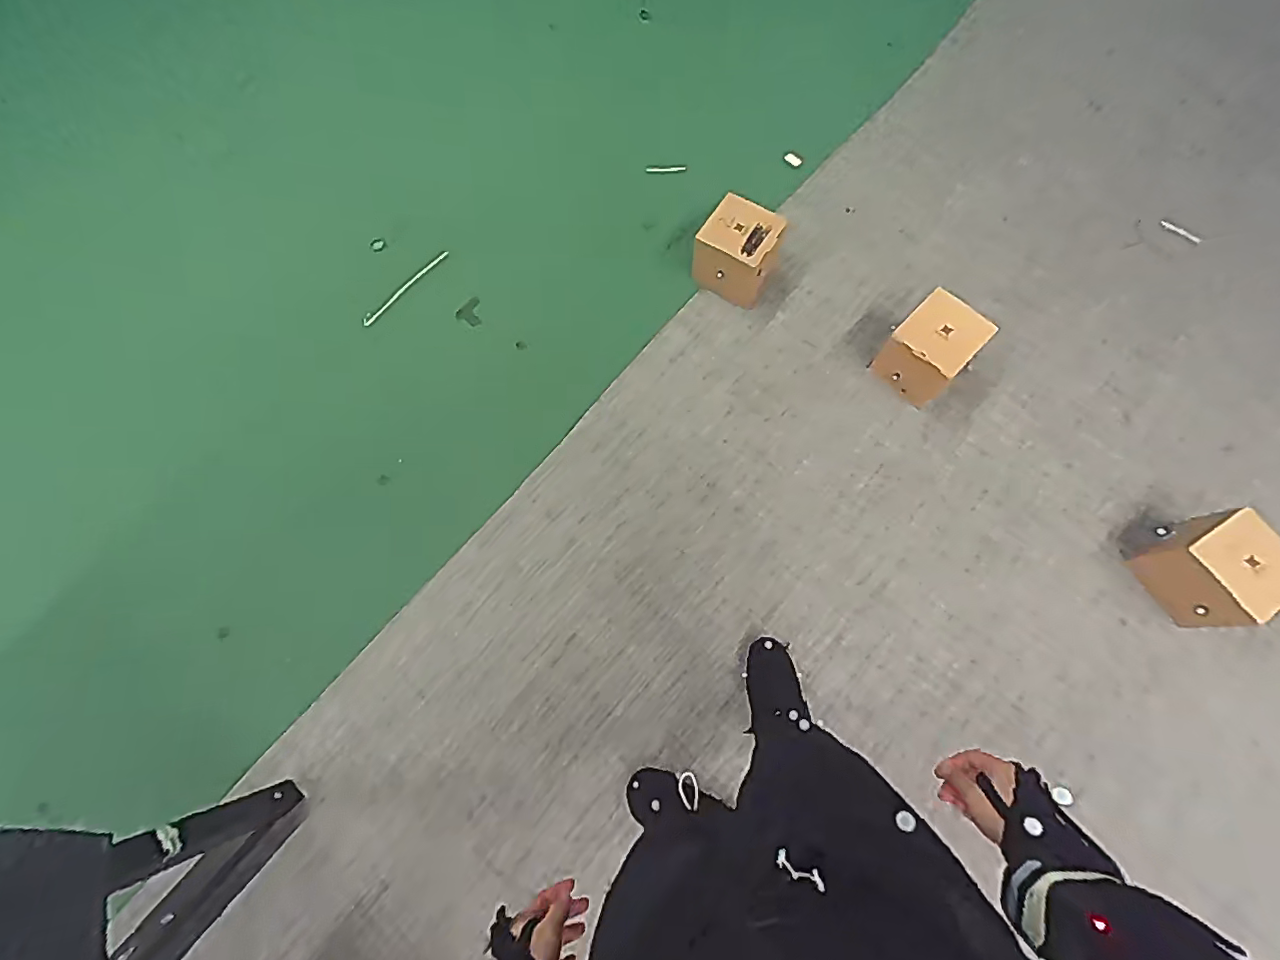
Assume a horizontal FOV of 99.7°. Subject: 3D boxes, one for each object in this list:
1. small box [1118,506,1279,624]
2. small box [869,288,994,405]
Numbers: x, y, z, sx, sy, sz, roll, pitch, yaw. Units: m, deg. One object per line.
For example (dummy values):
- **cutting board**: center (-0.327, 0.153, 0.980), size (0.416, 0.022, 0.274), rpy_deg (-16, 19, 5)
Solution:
- **small box**: center (1.178, 0.183, 1.126), size (0.168, 0.176, 0.179), rpy_deg (-32, 73, -7)
- **small box**: center (0.687, -0.314, 1.300), size (0.179, 0.176, 0.168), rpy_deg (-44, 76, -9)
